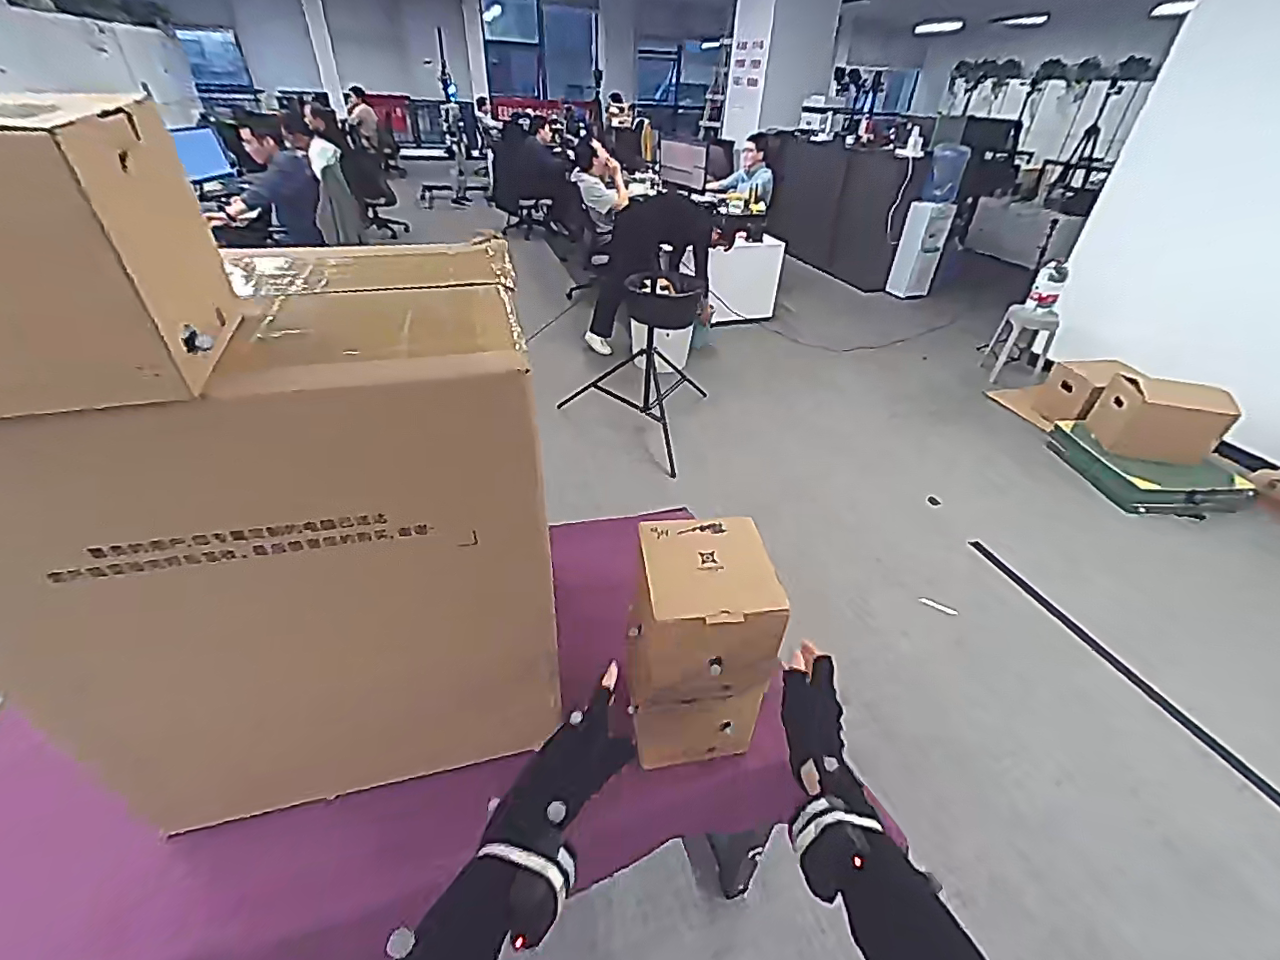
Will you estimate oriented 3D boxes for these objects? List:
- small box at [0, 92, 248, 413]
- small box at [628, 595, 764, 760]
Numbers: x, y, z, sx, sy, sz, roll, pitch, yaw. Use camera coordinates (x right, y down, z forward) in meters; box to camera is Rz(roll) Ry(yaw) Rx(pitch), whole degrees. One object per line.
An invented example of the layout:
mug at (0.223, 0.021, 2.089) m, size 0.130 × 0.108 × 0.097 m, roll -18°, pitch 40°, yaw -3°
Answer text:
small box at (-0.415, -0.159, 0.377) m, size 0.179 × 0.176 × 0.168 m, roll -10°, pitch 40°, yaw -15°
small box at (0.075, 0.306, 0.832) m, size 0.168 × 0.176 × 0.179 m, roll -4°, pitch 35°, yaw -10°
